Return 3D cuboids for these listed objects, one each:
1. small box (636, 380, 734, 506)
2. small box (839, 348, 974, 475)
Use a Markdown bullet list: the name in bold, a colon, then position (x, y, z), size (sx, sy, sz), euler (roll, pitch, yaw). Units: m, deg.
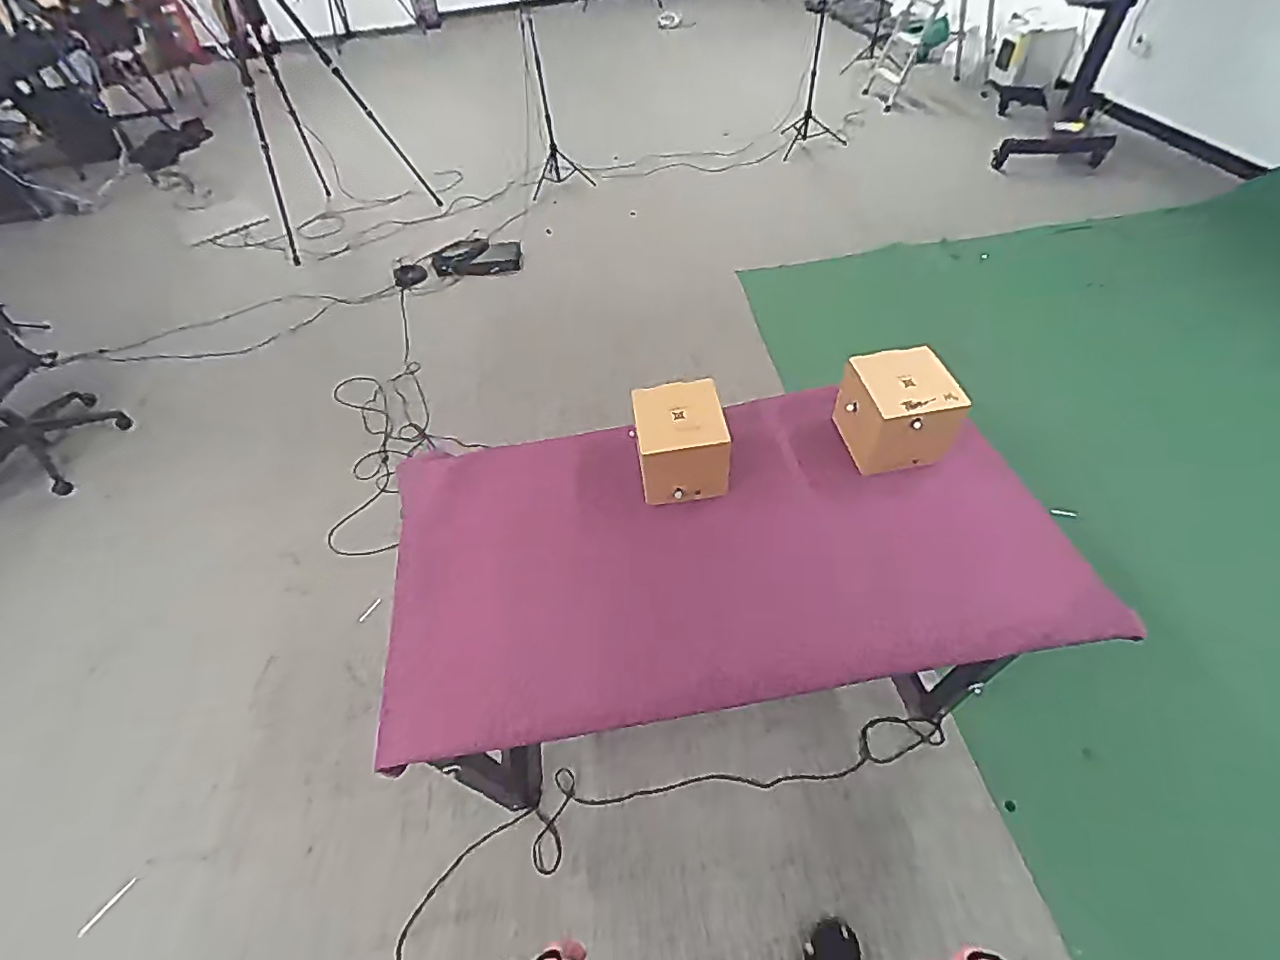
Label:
- **small box**: position (0.085, -0.073, 1.079), size (0.168, 0.176, 0.179), euler (-8, 52, 0)
- **small box**: position (0.517, -0.135, 1.083), size (0.168, 0.176, 0.179), euler (-9, 51, -1)
